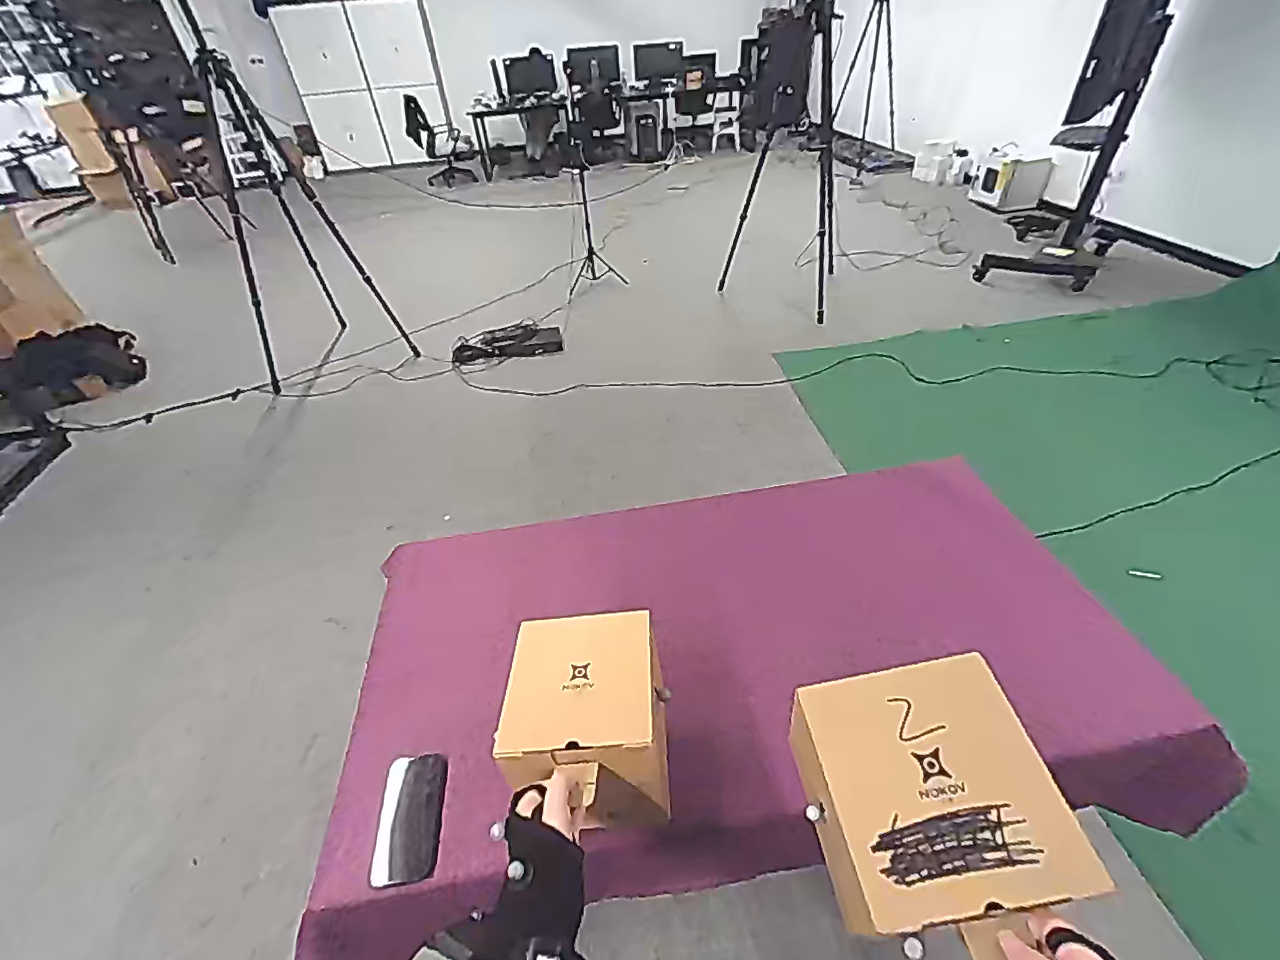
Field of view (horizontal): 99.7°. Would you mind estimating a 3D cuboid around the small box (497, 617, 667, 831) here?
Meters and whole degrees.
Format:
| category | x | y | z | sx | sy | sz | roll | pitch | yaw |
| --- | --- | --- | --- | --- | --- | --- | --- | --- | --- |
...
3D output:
| category | x | y | z | sx | sy | sz | roll | pitch | yaw |
| --- | --- | --- | --- | --- | --- | --- | --- | --- | --- |
| small box | -0.058 | 0.295 | 0.663 | 0.168 | 0.176 | 0.179 | -6 | 34 | 4 |
